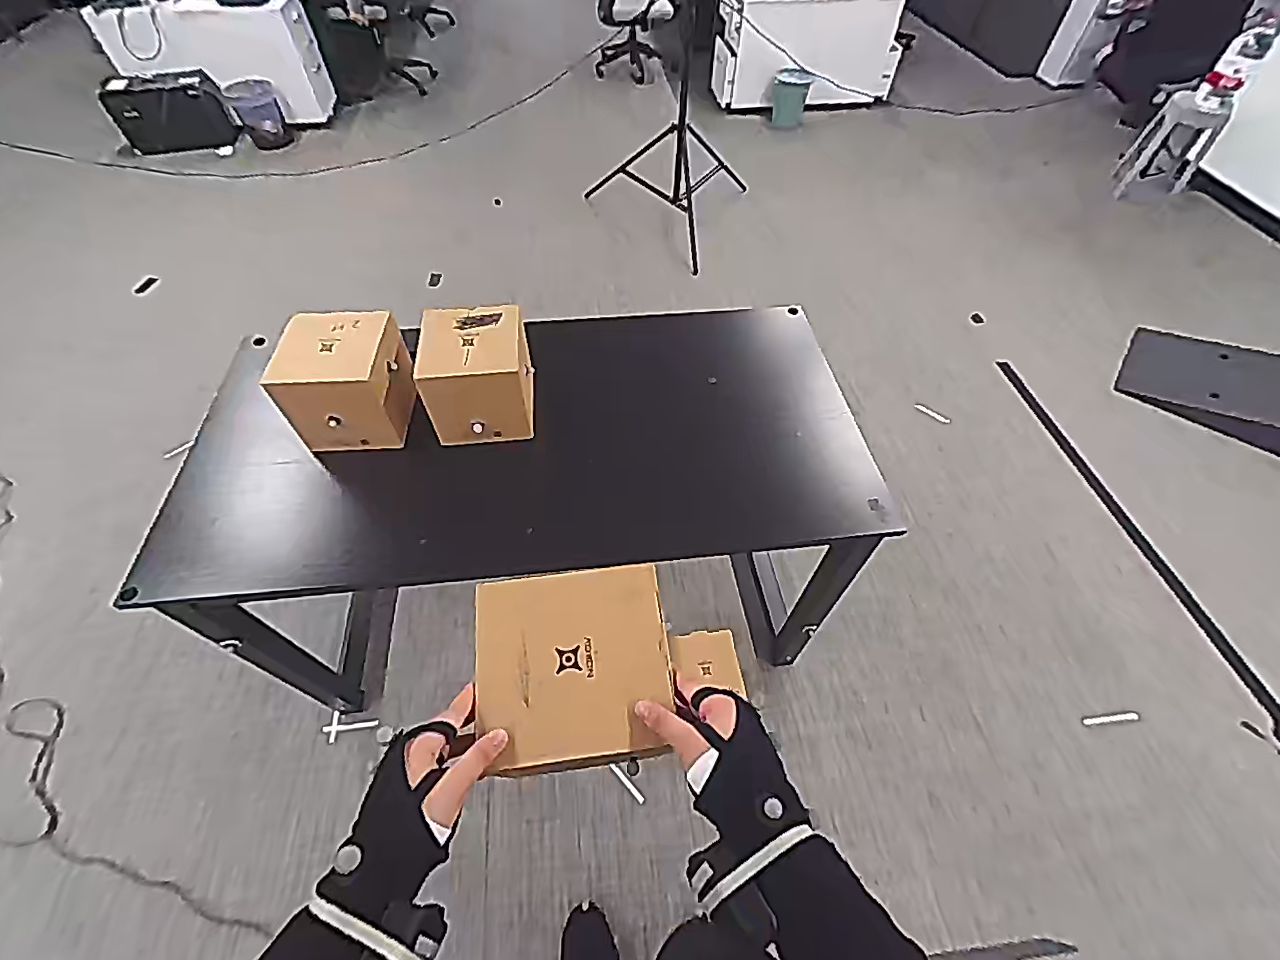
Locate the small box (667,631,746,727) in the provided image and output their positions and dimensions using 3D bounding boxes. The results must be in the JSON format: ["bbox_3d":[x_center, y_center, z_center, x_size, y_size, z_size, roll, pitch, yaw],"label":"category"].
[{"bbox_3d":[0.157,0.506,1.370,0.168,0.176,0.179,-6,53,-4],"label":"small box"}]

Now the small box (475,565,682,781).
[{"bbox_3d":[-0.061,0.204,0.557,0.179,0.176,0.168,-8,59,-4],"label":"small box"}]

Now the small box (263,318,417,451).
[{"bbox_3d":[-0.511,-0.163,0.954,0.168,0.176,0.179,-2,53,-4],"label":"small box"}]

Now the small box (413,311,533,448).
[{"bbox_3d":[-0.288,-0.179,0.969,0.168,0.176,0.179,-5,54,-5],"label":"small box"}]
